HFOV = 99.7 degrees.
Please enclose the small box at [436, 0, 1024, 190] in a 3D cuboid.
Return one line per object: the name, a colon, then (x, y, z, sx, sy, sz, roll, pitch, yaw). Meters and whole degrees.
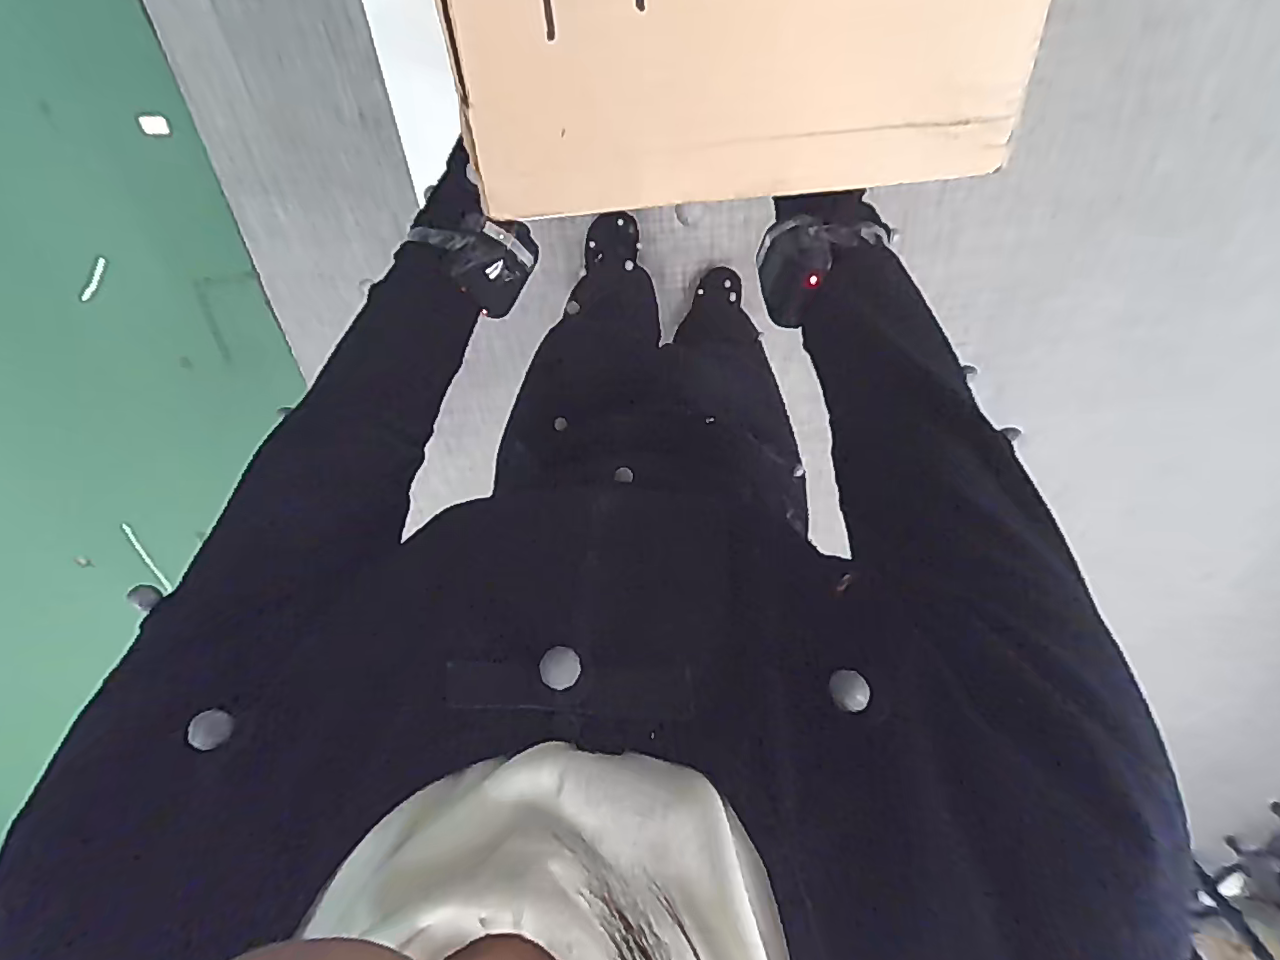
small box: (0.021, -0.211, 0.207, 0.179, 0.176, 0.168, -5, 123, -2)
